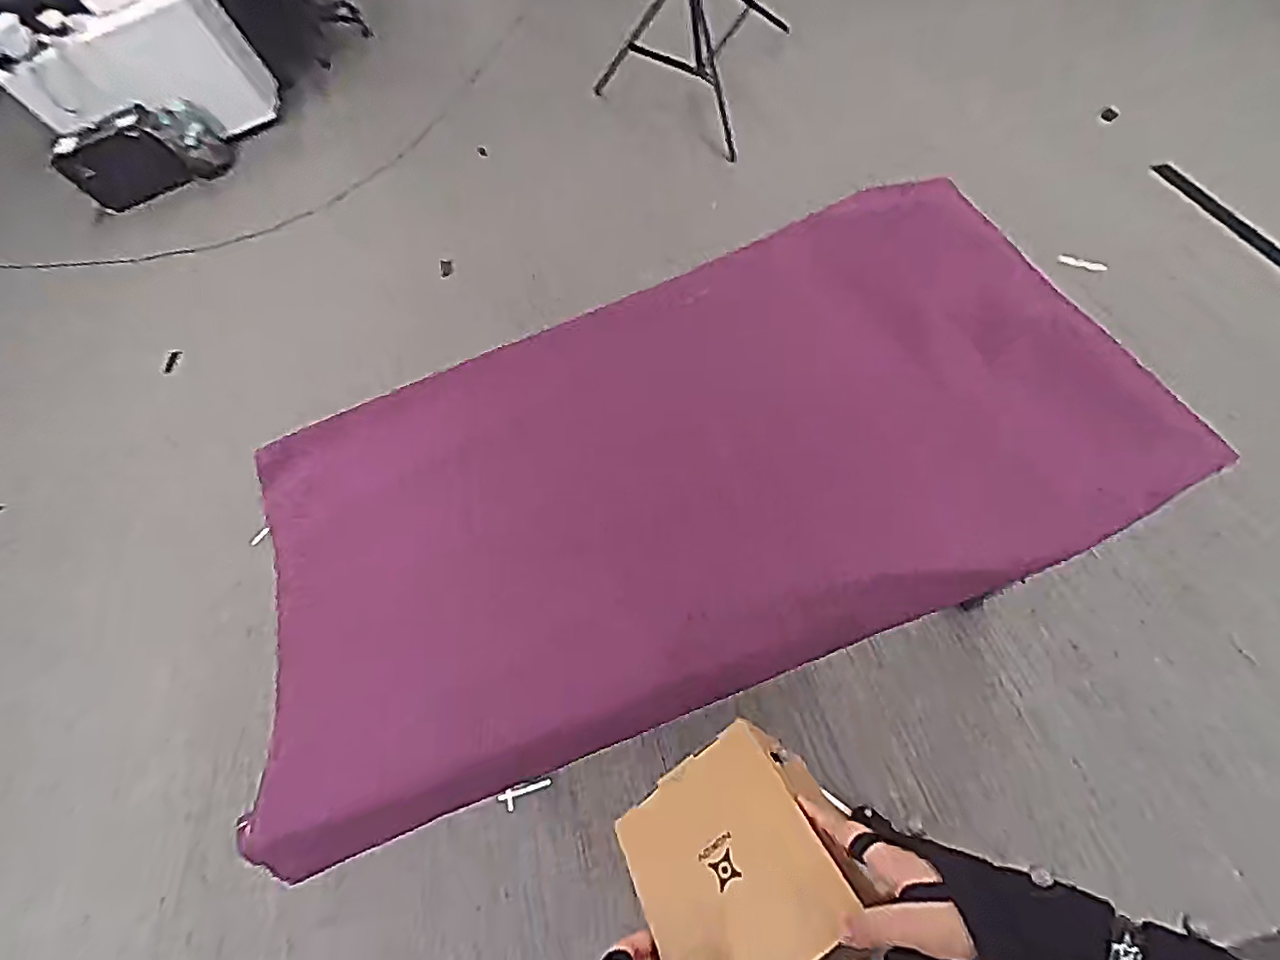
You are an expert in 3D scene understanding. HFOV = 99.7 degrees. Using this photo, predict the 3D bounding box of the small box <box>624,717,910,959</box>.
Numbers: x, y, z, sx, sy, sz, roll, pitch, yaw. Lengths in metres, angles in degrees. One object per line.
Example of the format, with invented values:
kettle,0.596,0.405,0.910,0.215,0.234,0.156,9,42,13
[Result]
small box,0.119,0.369,0.512,0.168,0.176,0.179,-41,37,2
